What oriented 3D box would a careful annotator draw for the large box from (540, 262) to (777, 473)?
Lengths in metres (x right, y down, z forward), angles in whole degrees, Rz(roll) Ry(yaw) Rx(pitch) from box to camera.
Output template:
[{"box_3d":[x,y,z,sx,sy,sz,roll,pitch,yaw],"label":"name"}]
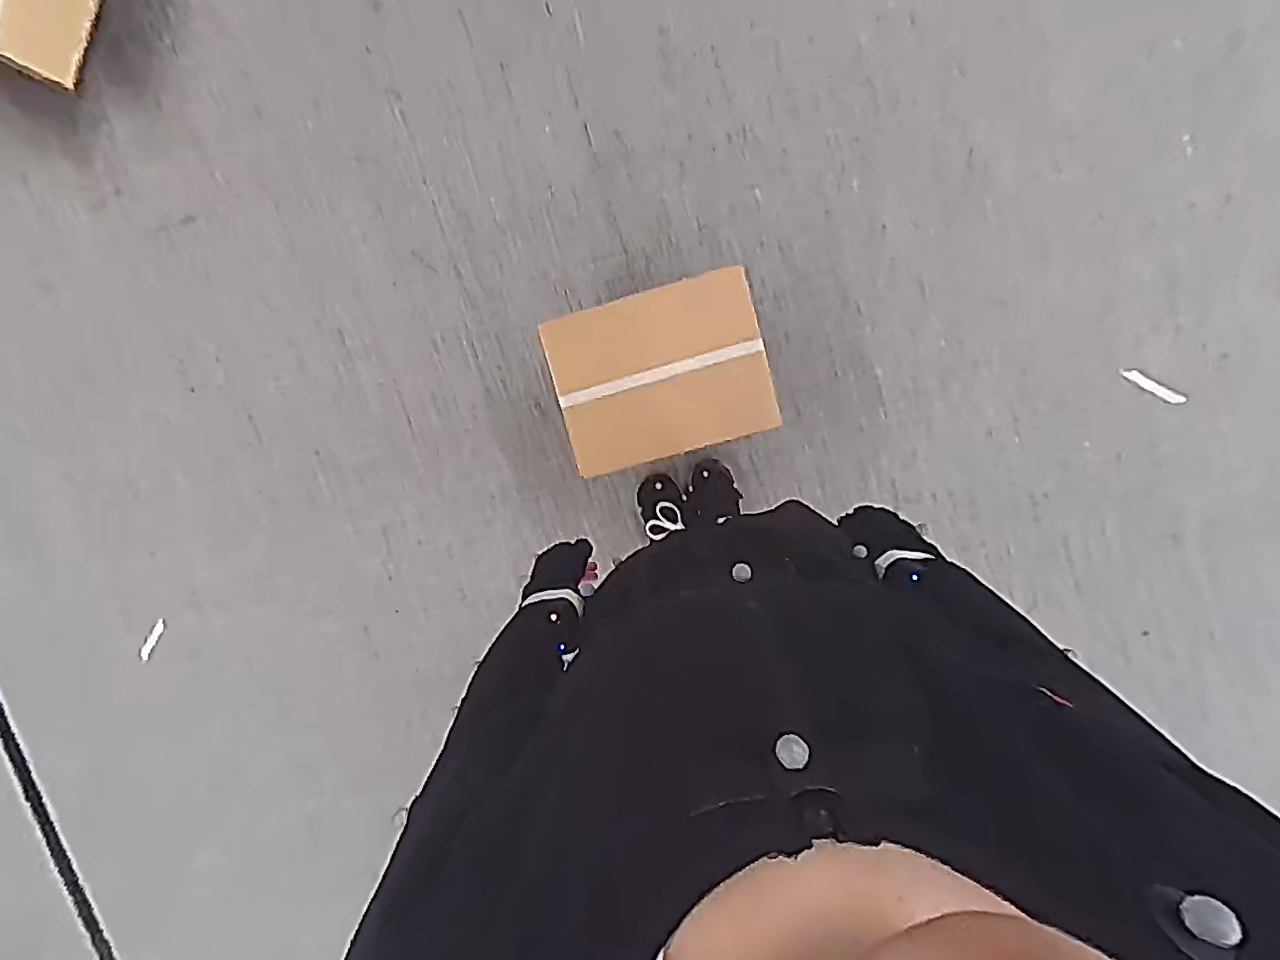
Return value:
[{"box_3d":[0.041,-0.228,1.188,0.408,0.320,0.320,-15,97,4],"label":"large box"}]
